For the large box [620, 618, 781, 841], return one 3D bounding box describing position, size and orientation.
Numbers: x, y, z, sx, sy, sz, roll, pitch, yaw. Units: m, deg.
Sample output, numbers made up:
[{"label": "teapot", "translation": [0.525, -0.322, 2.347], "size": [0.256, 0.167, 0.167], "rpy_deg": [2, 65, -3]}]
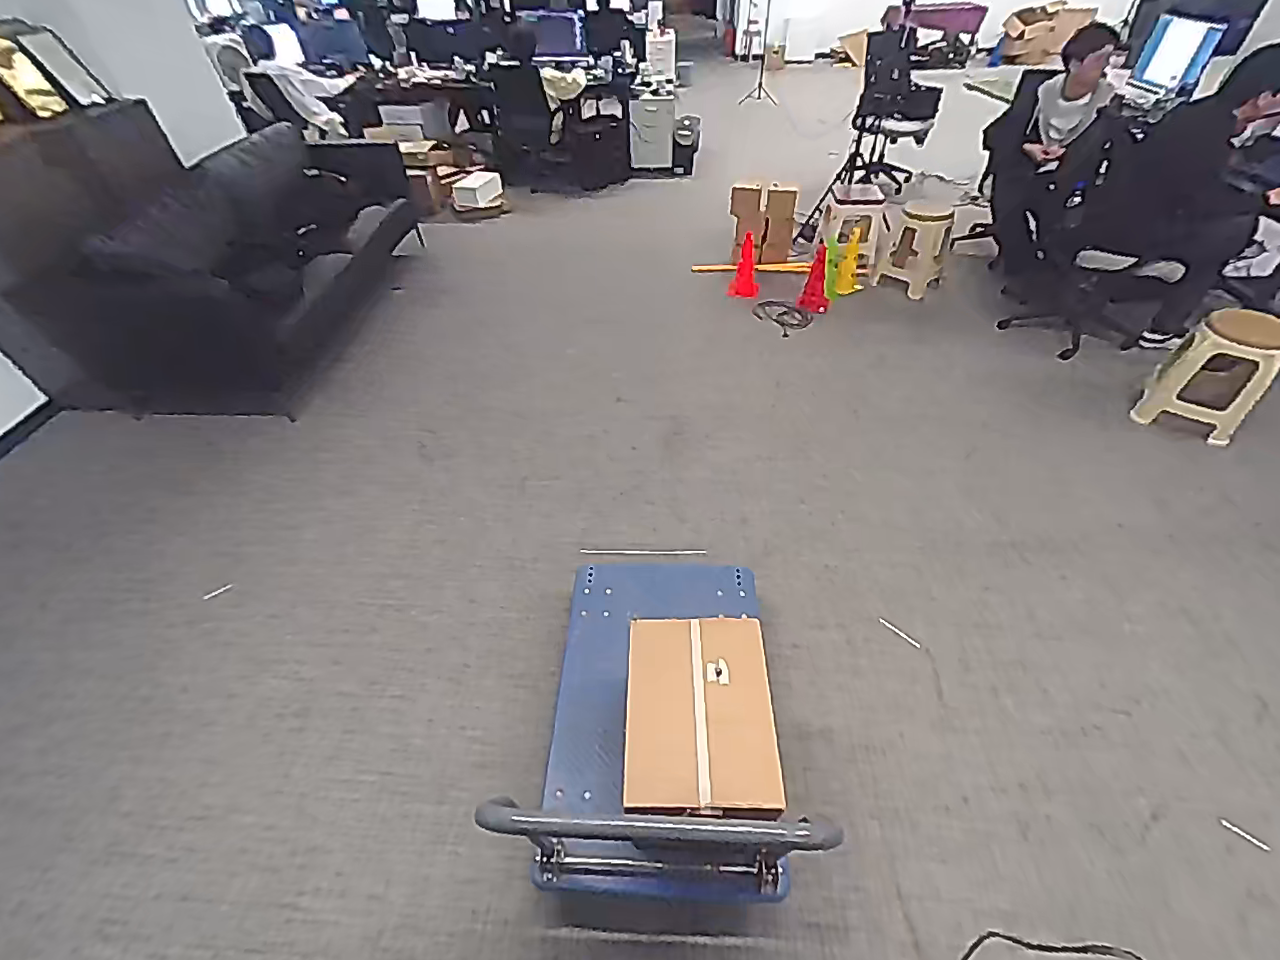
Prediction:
[{"label": "large box", "translation": [0.123, 0.581, 1.268], "size": [0.320, 0.320, 0.408], "rpy_deg": [0, 45, 2]}]
